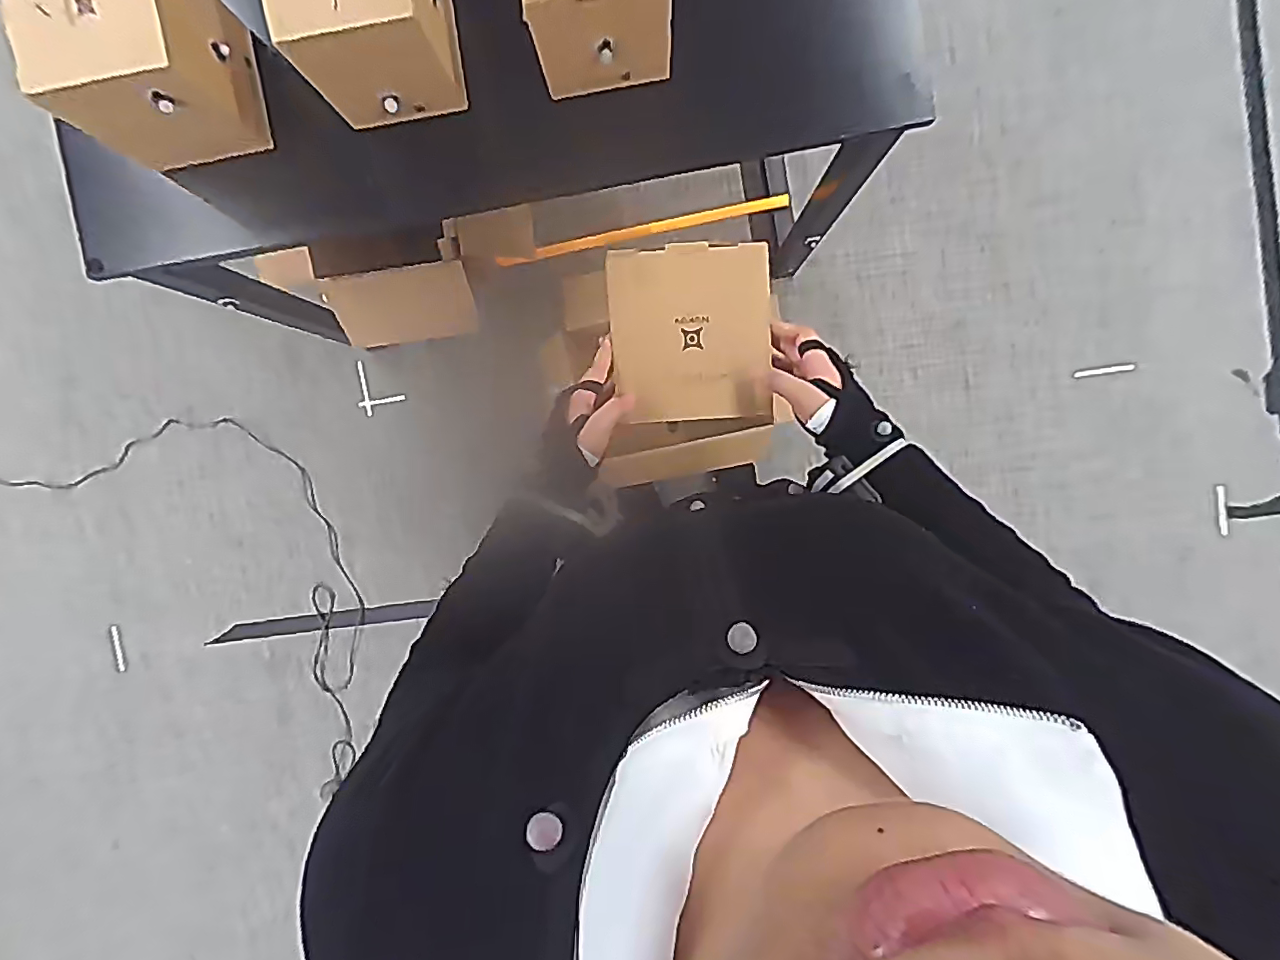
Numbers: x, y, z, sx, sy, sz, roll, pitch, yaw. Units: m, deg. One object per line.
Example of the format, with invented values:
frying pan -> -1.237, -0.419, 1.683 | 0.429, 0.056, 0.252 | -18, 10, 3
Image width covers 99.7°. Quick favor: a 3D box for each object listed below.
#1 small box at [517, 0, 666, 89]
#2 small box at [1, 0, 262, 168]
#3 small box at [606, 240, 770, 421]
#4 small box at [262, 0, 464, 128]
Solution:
small box -> -0.061, -0.613, 0.653 | 0.168, 0.176, 0.179 | -9, 94, 3
small box -> -0.614, -0.524, 0.675 | 0.179, 0.176, 0.168 | -10, 93, 2
small box -> 0.047, -0.162, 0.633 | 0.168, 0.176, 0.179 | -5, 98, -1
small box -> -0.334, -0.579, 0.664 | 0.168, 0.176, 0.179 | -8, 94, 3
